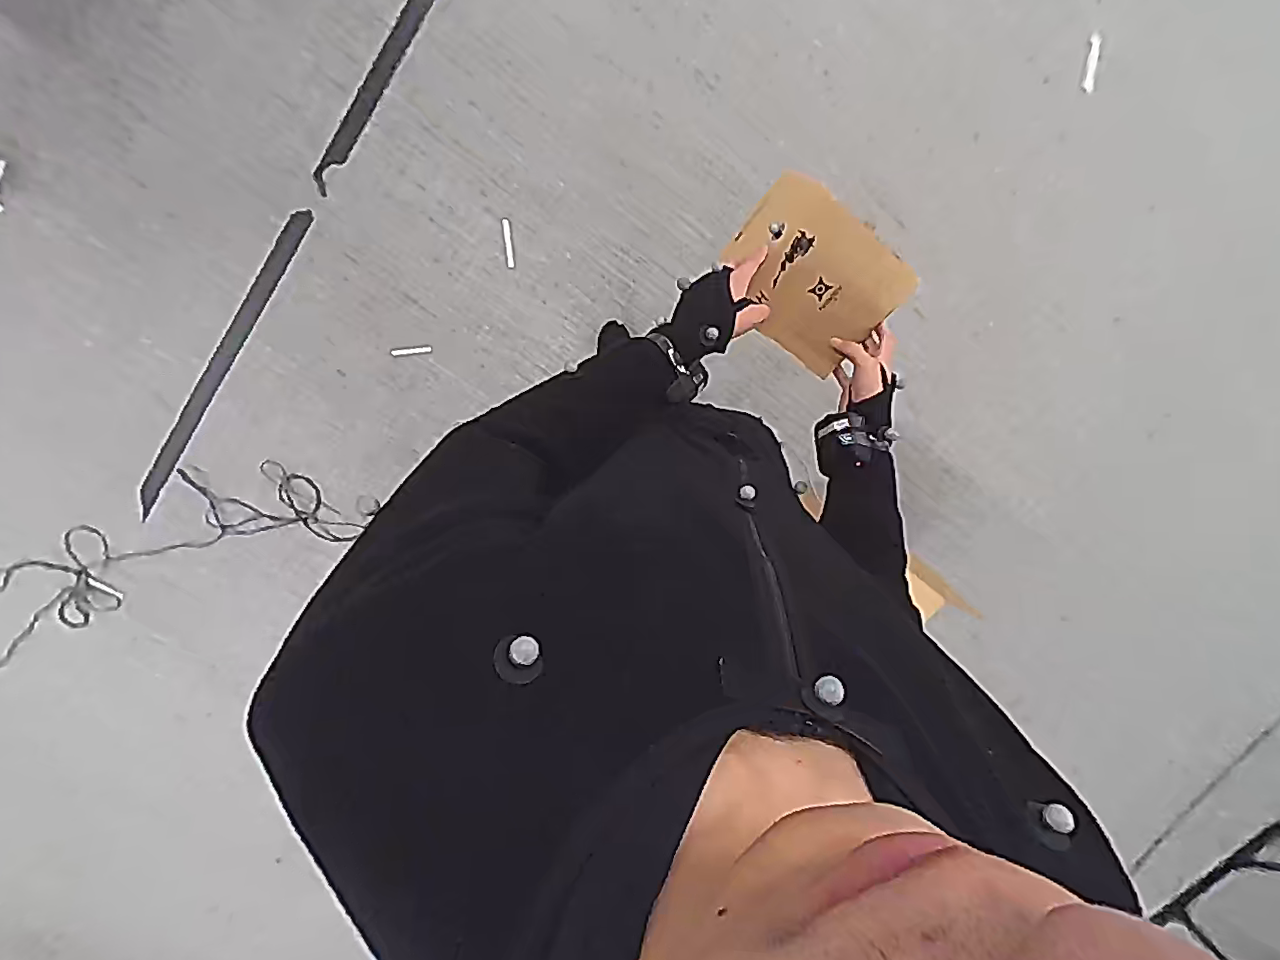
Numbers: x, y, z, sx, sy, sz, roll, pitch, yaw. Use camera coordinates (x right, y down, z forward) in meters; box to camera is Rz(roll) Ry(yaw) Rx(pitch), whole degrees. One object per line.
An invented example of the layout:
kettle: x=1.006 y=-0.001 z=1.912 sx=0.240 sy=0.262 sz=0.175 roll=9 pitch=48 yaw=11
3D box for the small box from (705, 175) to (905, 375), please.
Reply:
small box: x=0.210 y=-0.282 z=0.735 sx=0.179 sy=0.176 sz=0.168 roll=28 pitch=122 yaw=-22
